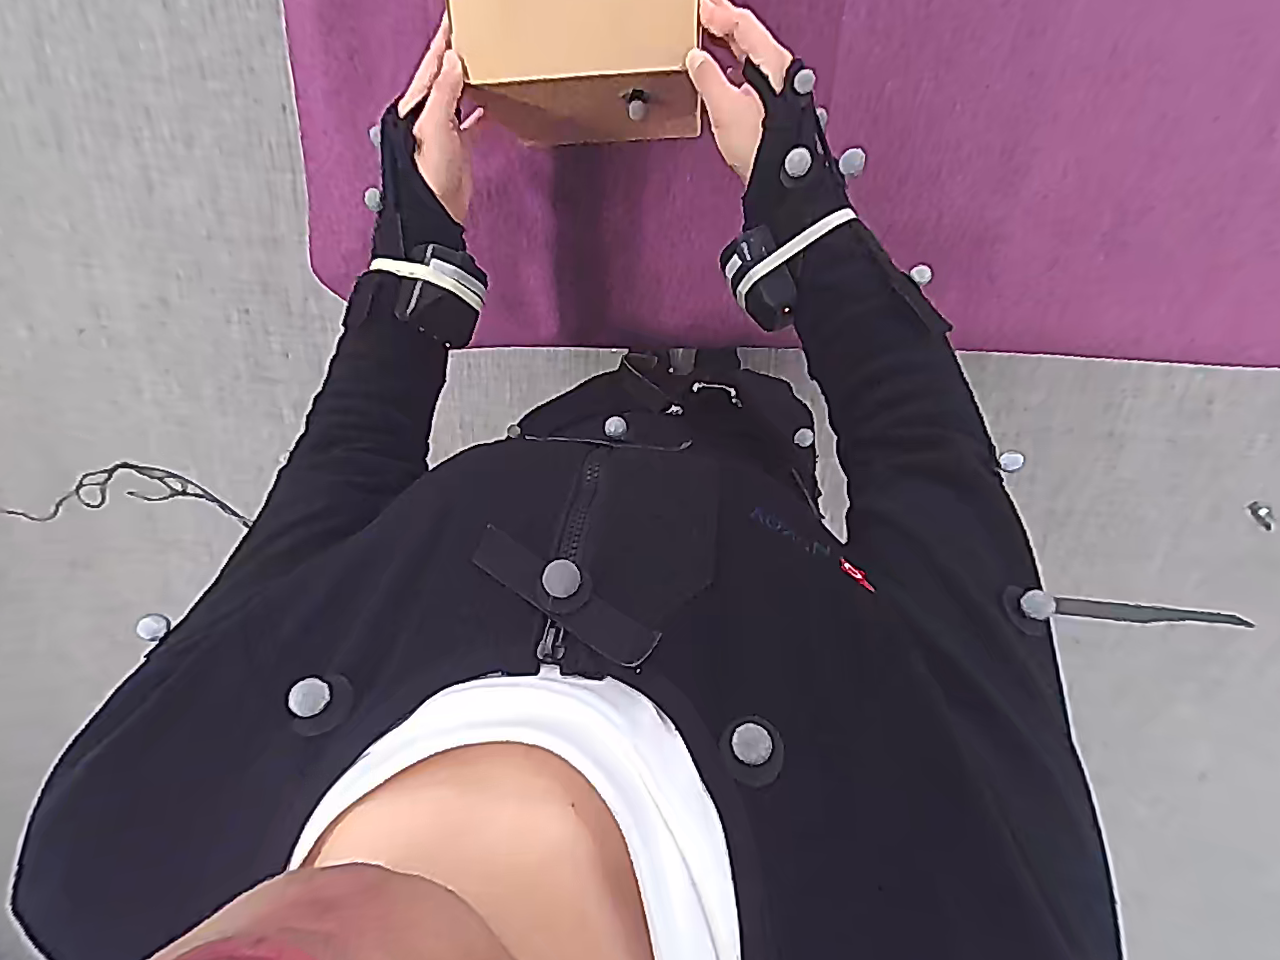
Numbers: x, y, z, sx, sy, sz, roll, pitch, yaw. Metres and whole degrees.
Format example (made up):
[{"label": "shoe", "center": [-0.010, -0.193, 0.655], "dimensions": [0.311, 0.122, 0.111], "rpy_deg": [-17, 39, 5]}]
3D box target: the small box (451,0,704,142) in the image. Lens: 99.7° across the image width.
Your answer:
[{"label": "small box", "center": [-0.037, -0.385, 0.430], "dimensions": [0.179, 0.176, 0.168], "rpy_deg": [1, 109, 6]}]
